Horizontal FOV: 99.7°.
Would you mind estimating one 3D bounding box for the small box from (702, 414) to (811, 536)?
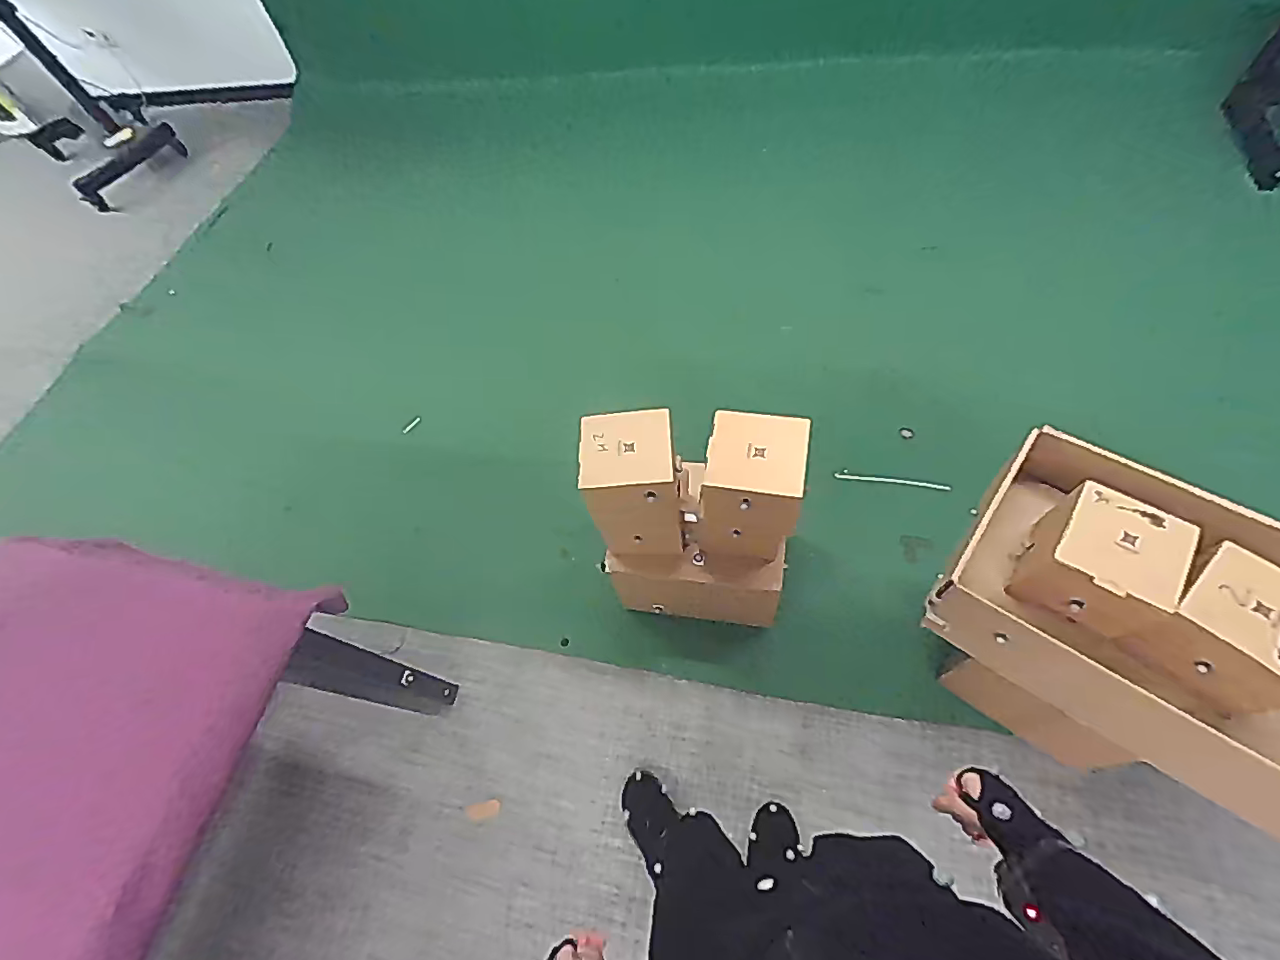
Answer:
[{"bbox_3d":[0.223,-0.005,1.038,0.179,0.176,0.168,7,62,15],"label":"small box"}]
